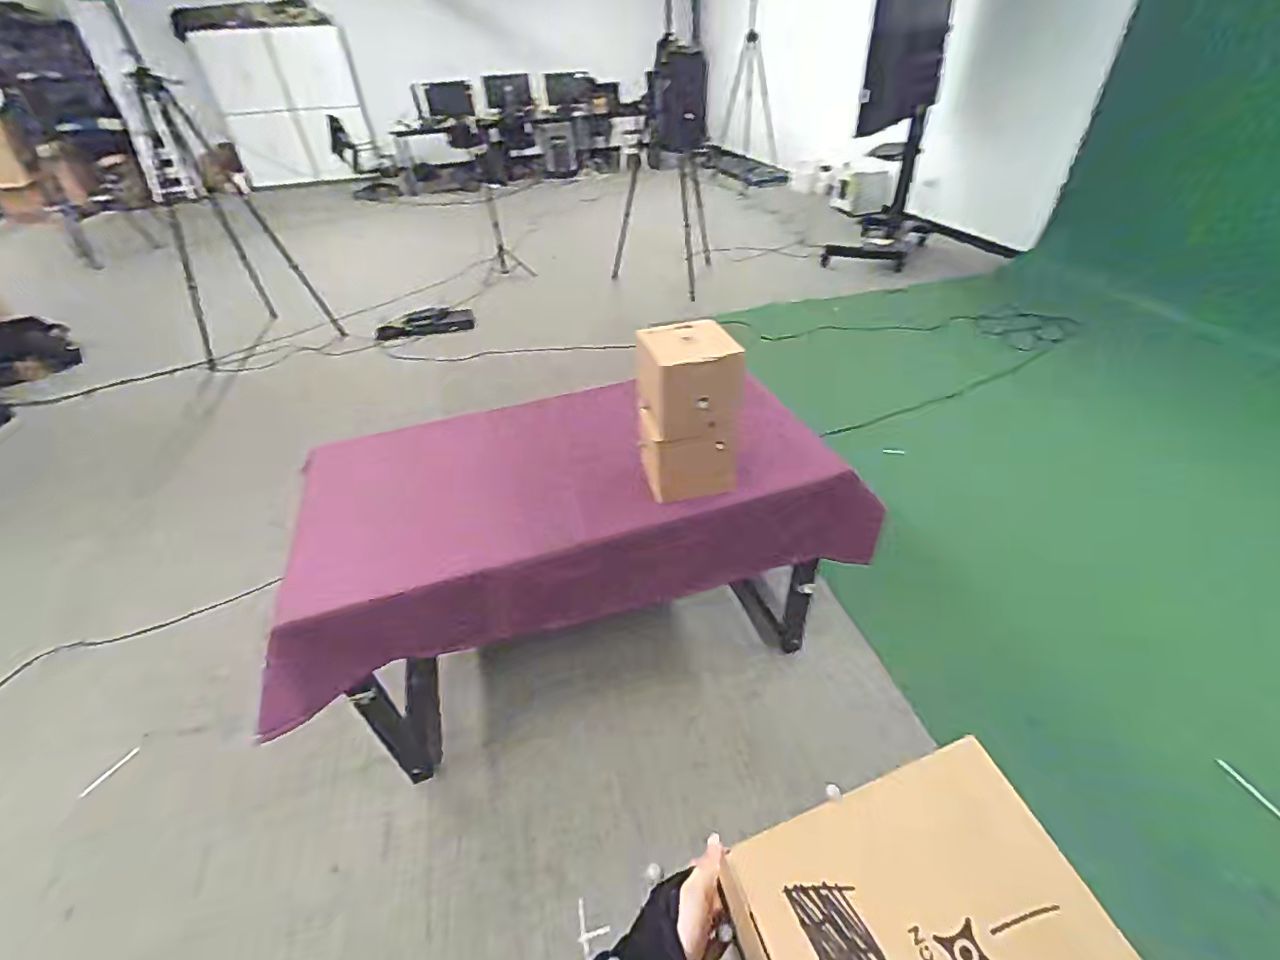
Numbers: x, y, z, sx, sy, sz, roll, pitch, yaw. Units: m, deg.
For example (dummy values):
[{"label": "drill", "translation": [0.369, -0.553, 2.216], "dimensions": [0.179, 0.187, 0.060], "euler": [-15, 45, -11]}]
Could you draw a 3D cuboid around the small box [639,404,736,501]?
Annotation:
[{"label": "small box", "translation": [0.103, -0.071, 1.197], "dimensions": [0.179, 0.176, 0.168], "euler": [-9, 39, -7]}]

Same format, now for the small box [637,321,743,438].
[{"label": "small box", "translation": [0.097, -0.199, 1.095], "dimensions": [0.168, 0.176, 0.179], "euler": [-11, 40, -10]}]
